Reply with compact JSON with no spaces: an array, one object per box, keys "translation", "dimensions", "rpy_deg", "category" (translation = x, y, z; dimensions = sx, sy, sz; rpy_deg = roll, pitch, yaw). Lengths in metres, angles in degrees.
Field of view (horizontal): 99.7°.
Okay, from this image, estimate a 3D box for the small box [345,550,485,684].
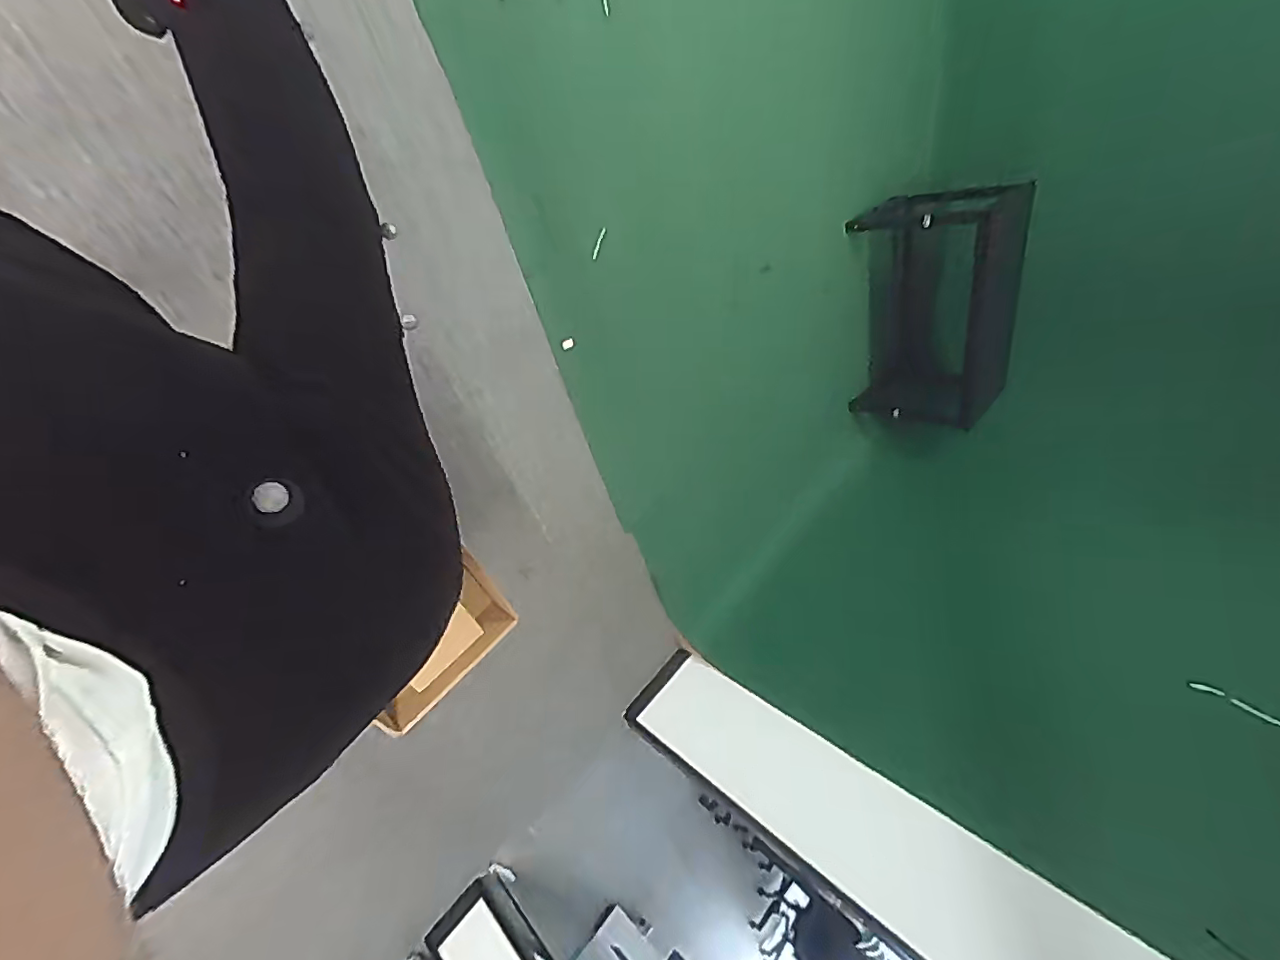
[{"translation":[-0.459,0.272,1.106],"dimensions":[0.168,0.176,0.179],"rpy_deg":[-44,133,-26],"category":"small box"}]
